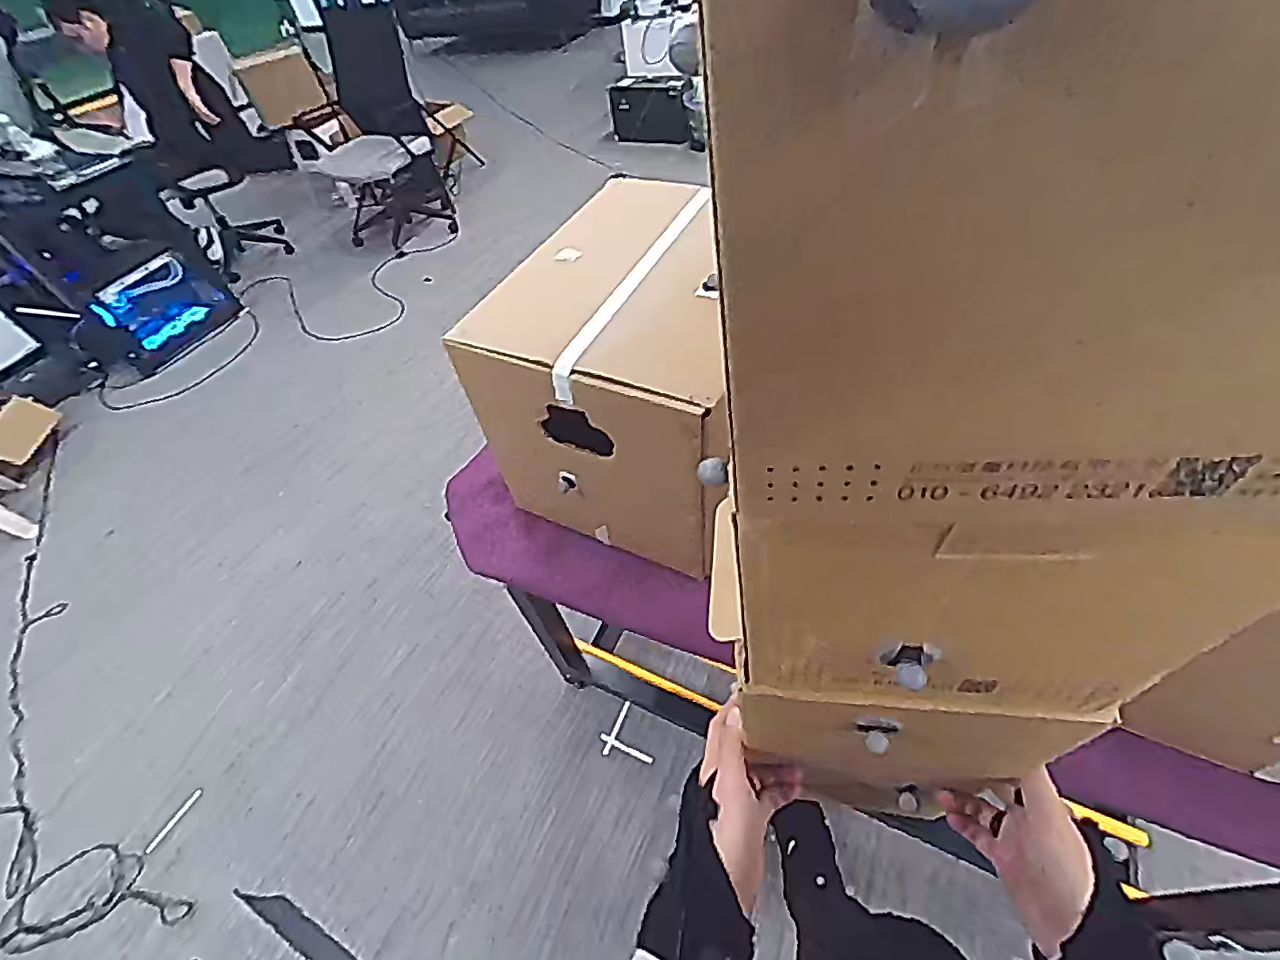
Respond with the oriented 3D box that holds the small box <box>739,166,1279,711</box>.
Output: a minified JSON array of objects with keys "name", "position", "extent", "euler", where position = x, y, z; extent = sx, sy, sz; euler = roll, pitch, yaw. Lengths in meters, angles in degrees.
[{"name":"small box","position":[0.131,-0.012,0.250],"extent":[0.168,0.176,0.179],"euler":[-1,52,12]}]

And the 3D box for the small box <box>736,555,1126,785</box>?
[{"name":"small box","position":[0.160,0.096,0.369],"extent":[0.179,0.176,0.168],"euler":[0,52,12]}]
